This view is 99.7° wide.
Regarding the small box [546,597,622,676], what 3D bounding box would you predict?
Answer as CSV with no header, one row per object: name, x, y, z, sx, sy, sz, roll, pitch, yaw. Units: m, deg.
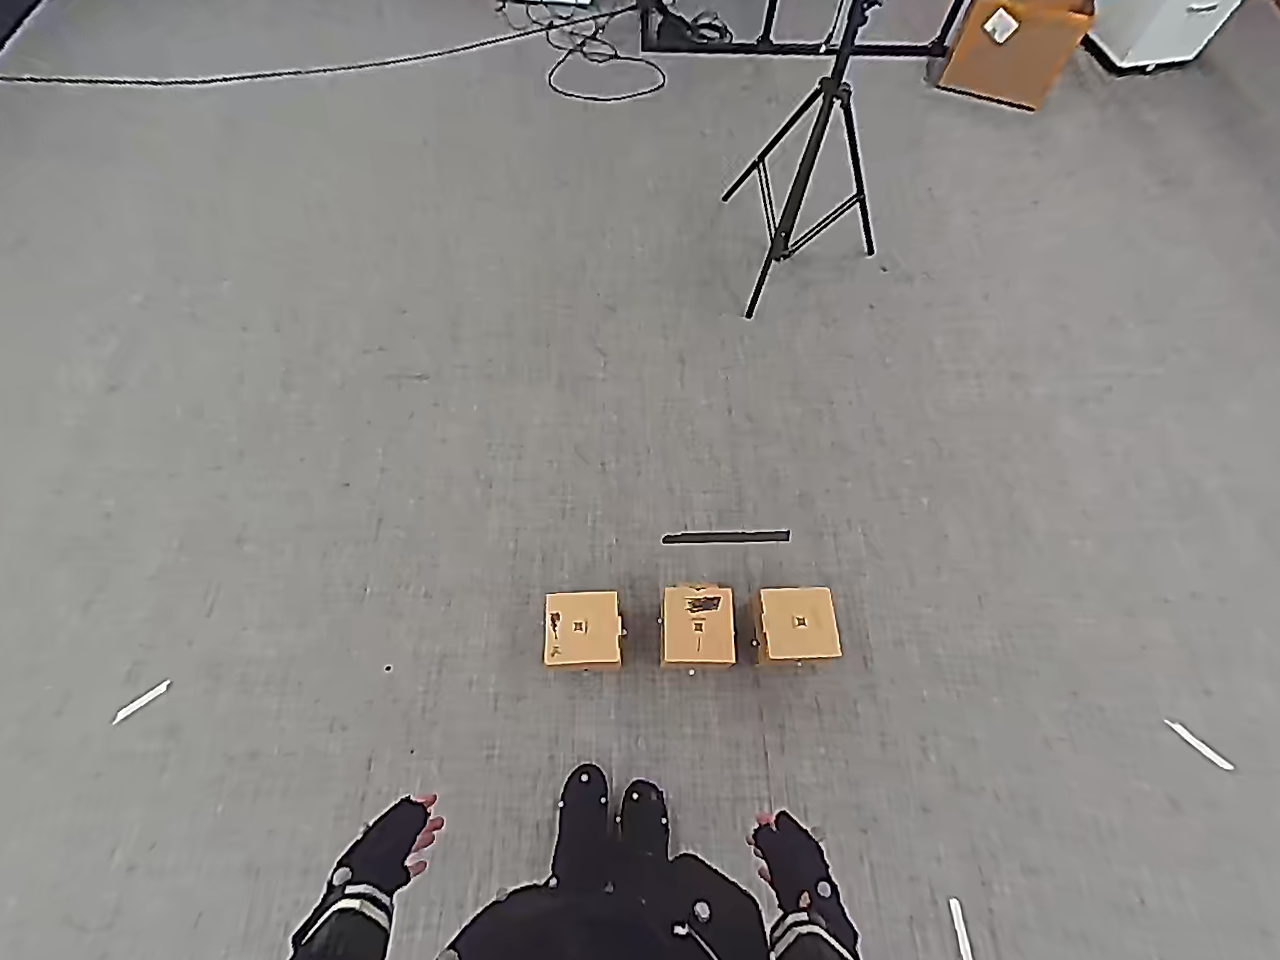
small box,-0.135,0.391,1.342,0.179,0.176,0.168,-2,64,-2

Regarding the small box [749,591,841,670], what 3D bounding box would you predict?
small box,0.377,0.381,1.357,0.179,0.176,0.168,-1,66,-3

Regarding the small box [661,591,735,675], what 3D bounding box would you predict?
small box,0.138,0.385,1.349,0.168,0.176,0.179,1,65,0
